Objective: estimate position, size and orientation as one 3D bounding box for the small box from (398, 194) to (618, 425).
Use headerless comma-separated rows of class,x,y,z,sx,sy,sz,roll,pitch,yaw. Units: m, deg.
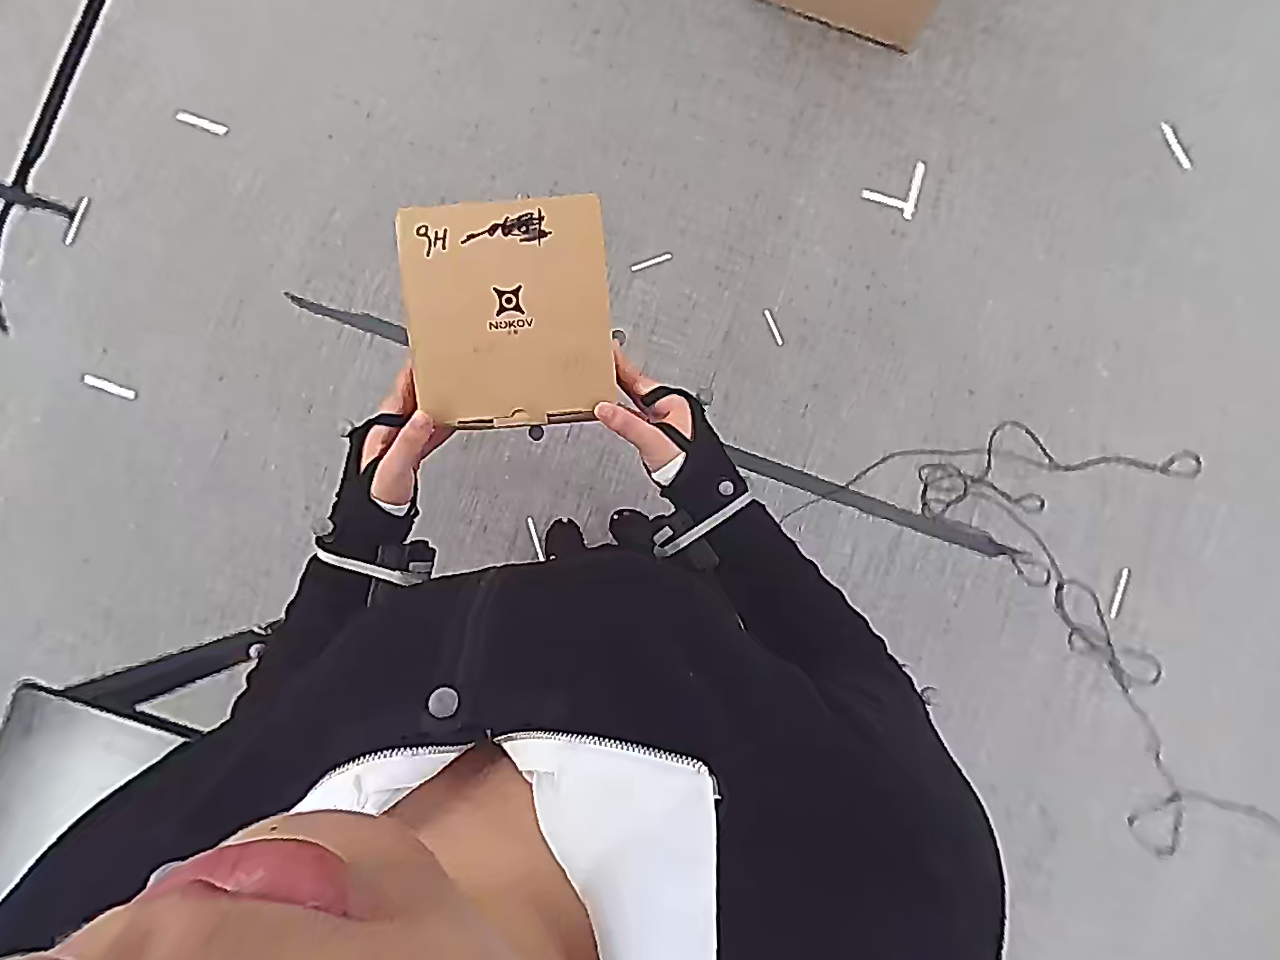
small box,-0.109,-0.147,0.521,0.168,0.176,0.179,-5,96,-2
